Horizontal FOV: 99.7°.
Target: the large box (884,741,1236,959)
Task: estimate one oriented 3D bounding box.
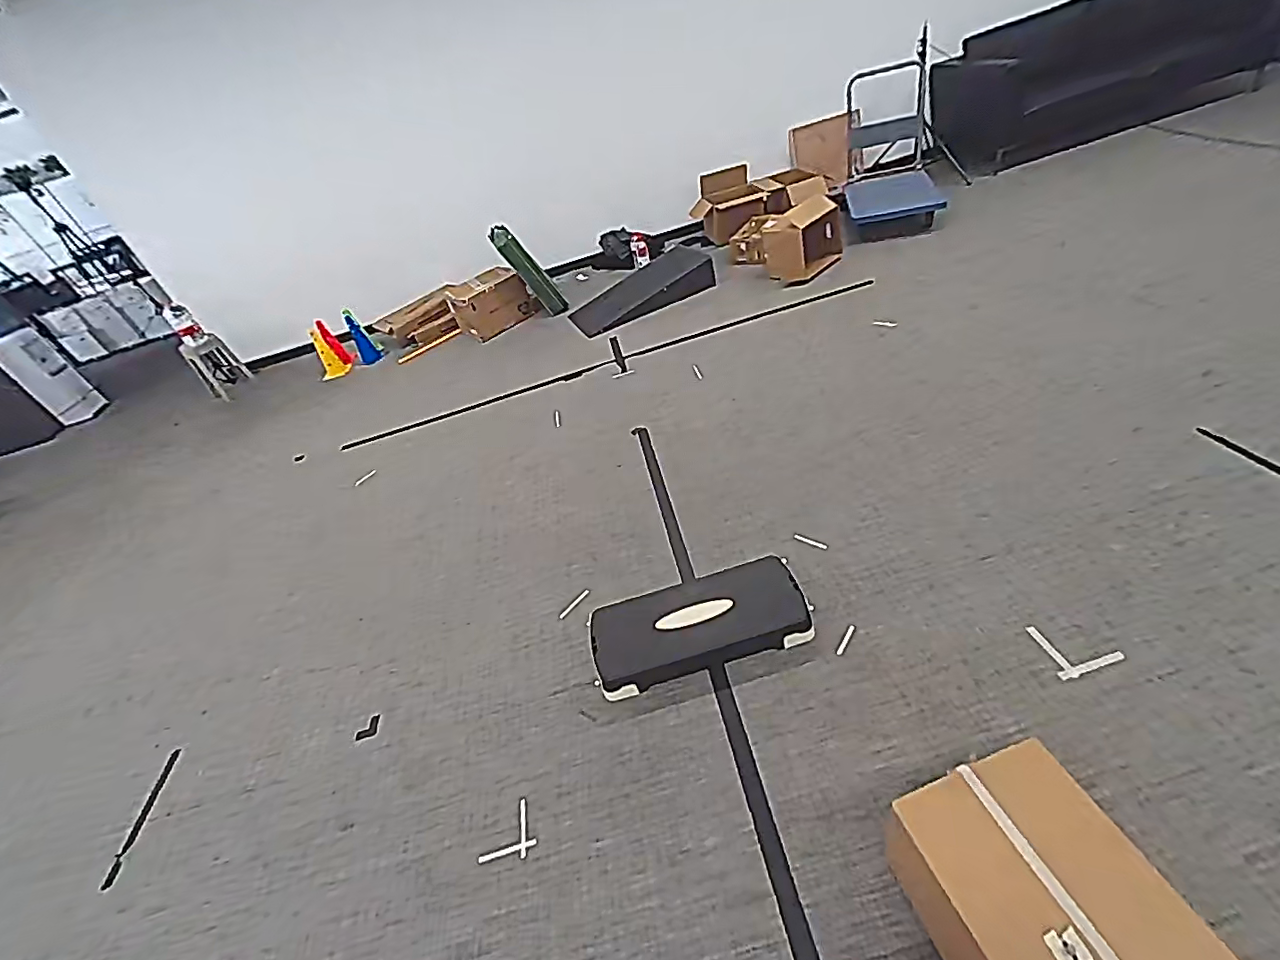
[{"bbox_3d":[0.700,0.771,0.962,0.320,0.320,0.408,-22,39,-5],"label":"large box"}]
